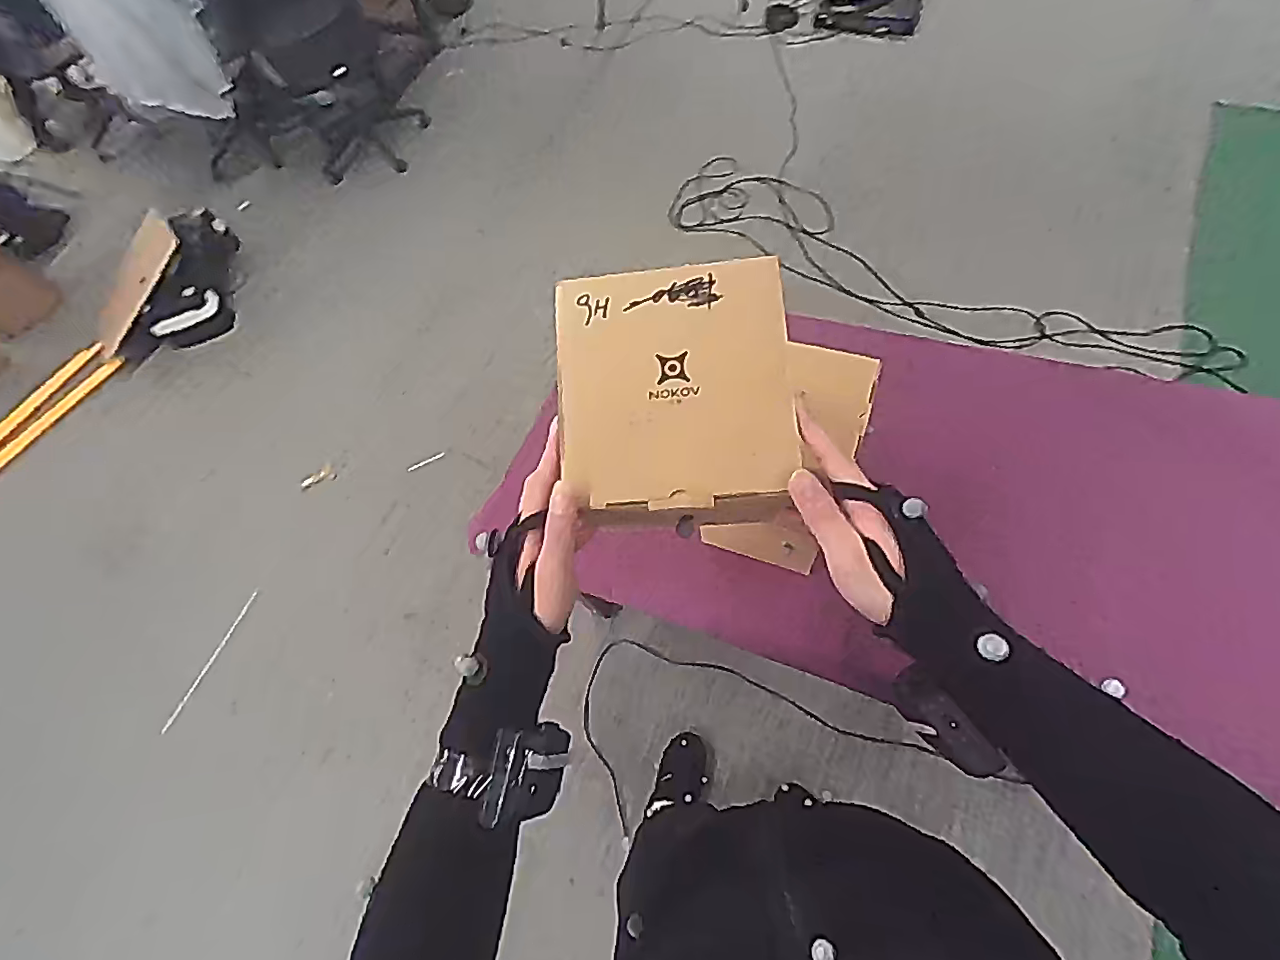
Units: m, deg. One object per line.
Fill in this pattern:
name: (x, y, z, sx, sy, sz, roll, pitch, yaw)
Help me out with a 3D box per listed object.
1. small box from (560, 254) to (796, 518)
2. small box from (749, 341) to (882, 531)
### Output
small box: (0.033, -0.060, 0.461, 0.168, 0.176, 0.179, -3, 80, 7)
small box: (0.176, -0.053, 0.674, 0.179, 0.176, 0.168, 17, 68, 18)
